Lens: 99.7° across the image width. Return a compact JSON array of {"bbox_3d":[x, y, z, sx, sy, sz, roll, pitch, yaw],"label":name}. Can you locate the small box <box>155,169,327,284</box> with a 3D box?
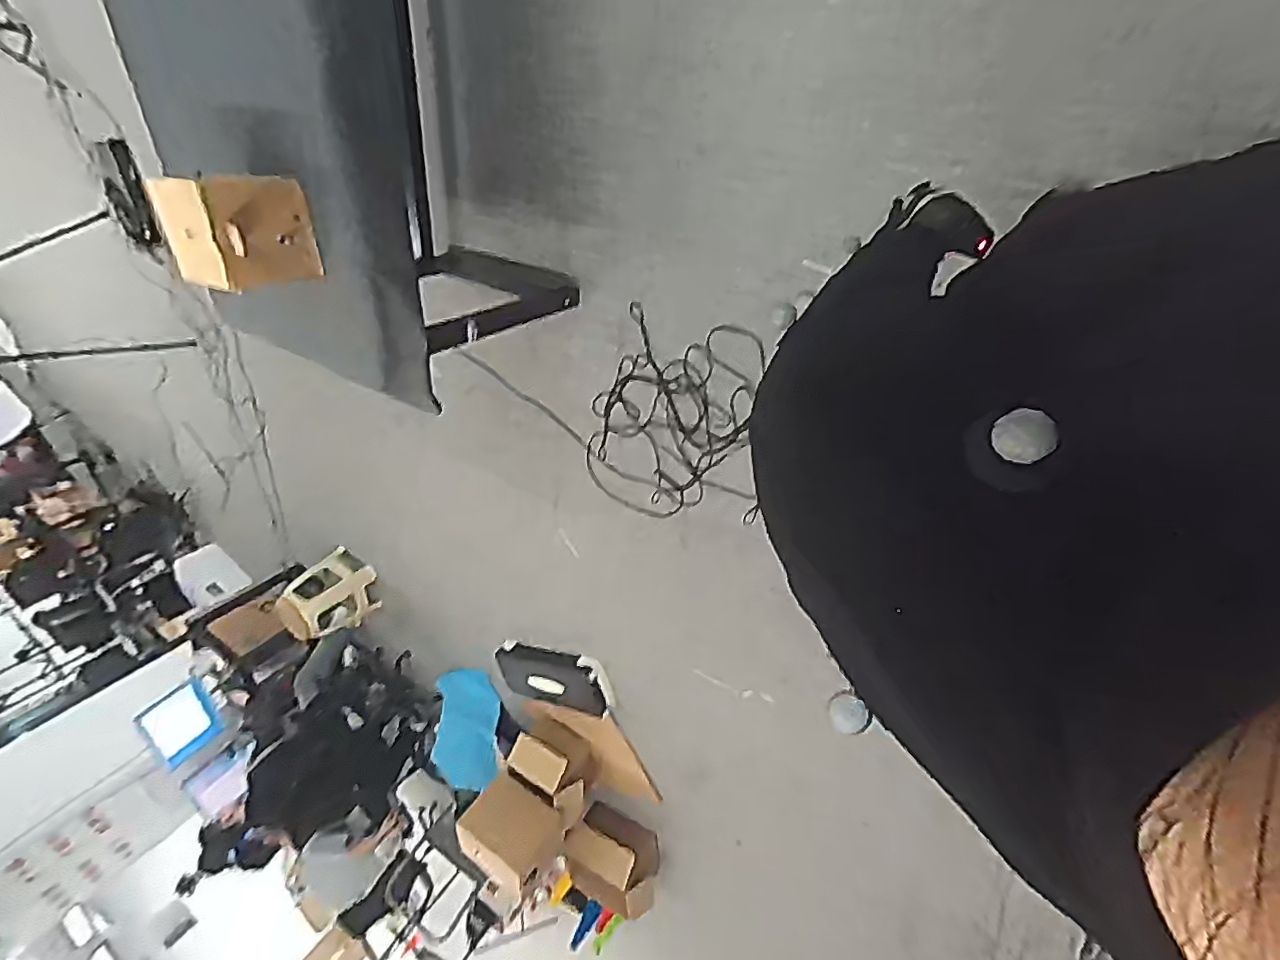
[{"bbox_3d":[-0.706,-0.459,0.972,0.179,0.176,0.168,19,124,26],"label":"small box"}]
